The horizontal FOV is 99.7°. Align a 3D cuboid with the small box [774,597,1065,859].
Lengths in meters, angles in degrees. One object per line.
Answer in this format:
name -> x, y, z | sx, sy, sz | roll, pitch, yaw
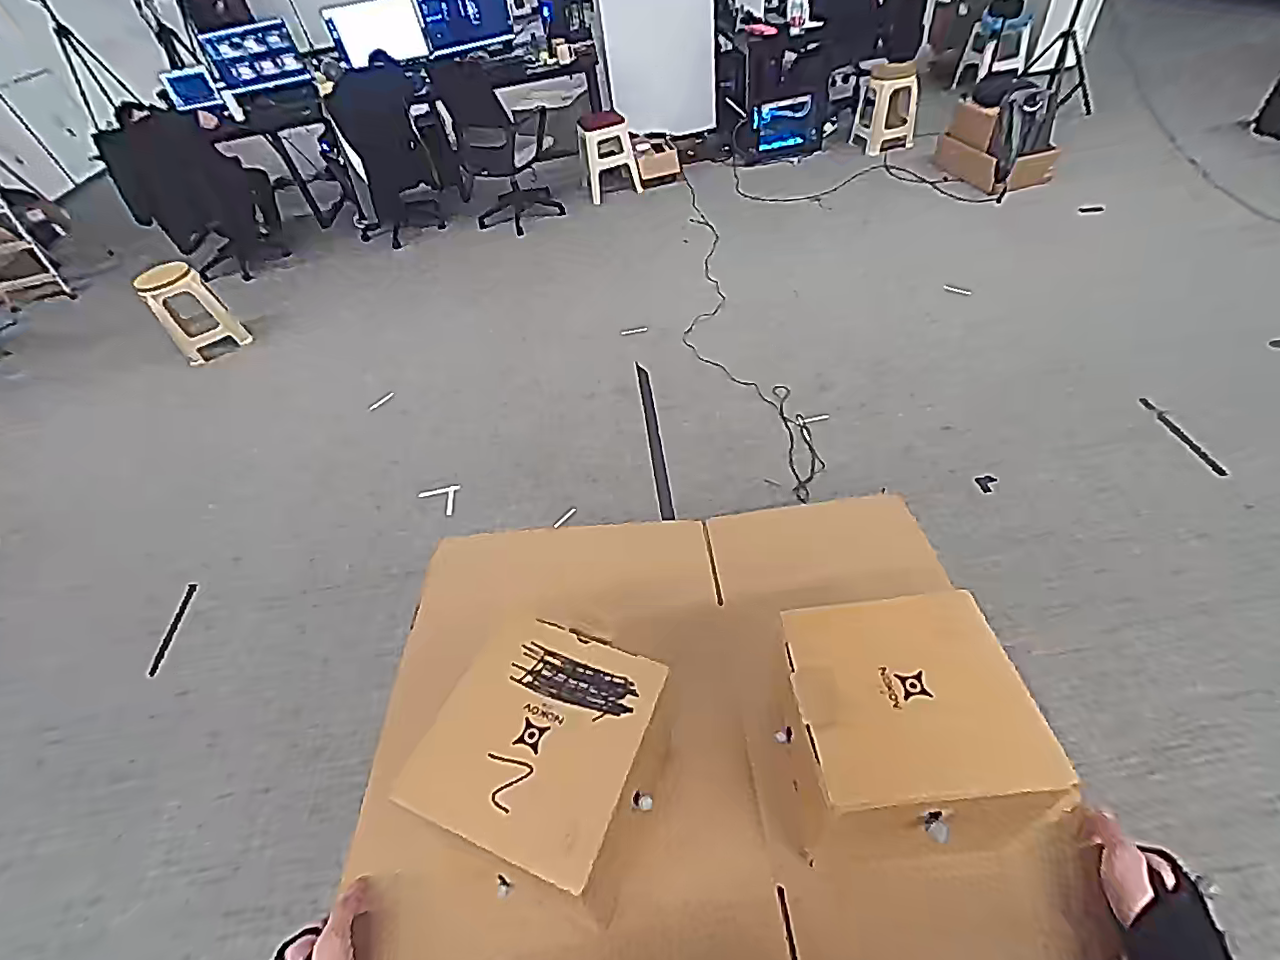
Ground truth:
small box -> 0.230, 0.234, 0.506 | 0.179, 0.176, 0.168 | -8, 42, 4
